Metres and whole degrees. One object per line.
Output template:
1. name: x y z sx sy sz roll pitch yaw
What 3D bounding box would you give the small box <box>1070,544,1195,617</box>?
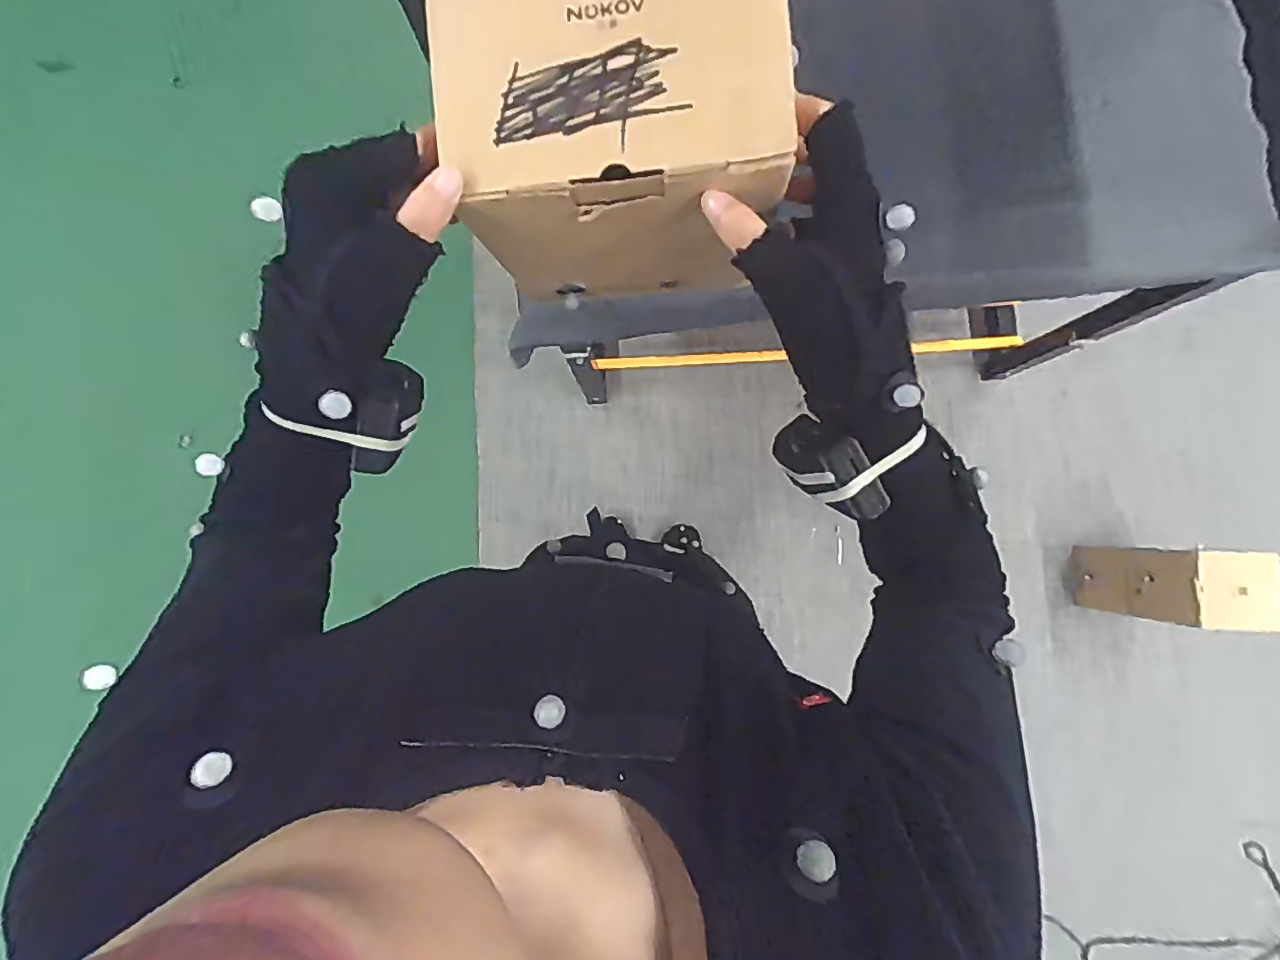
1. small box: 1.254 0.252 1.386 0.179 0.176 0.168 3 84 1
